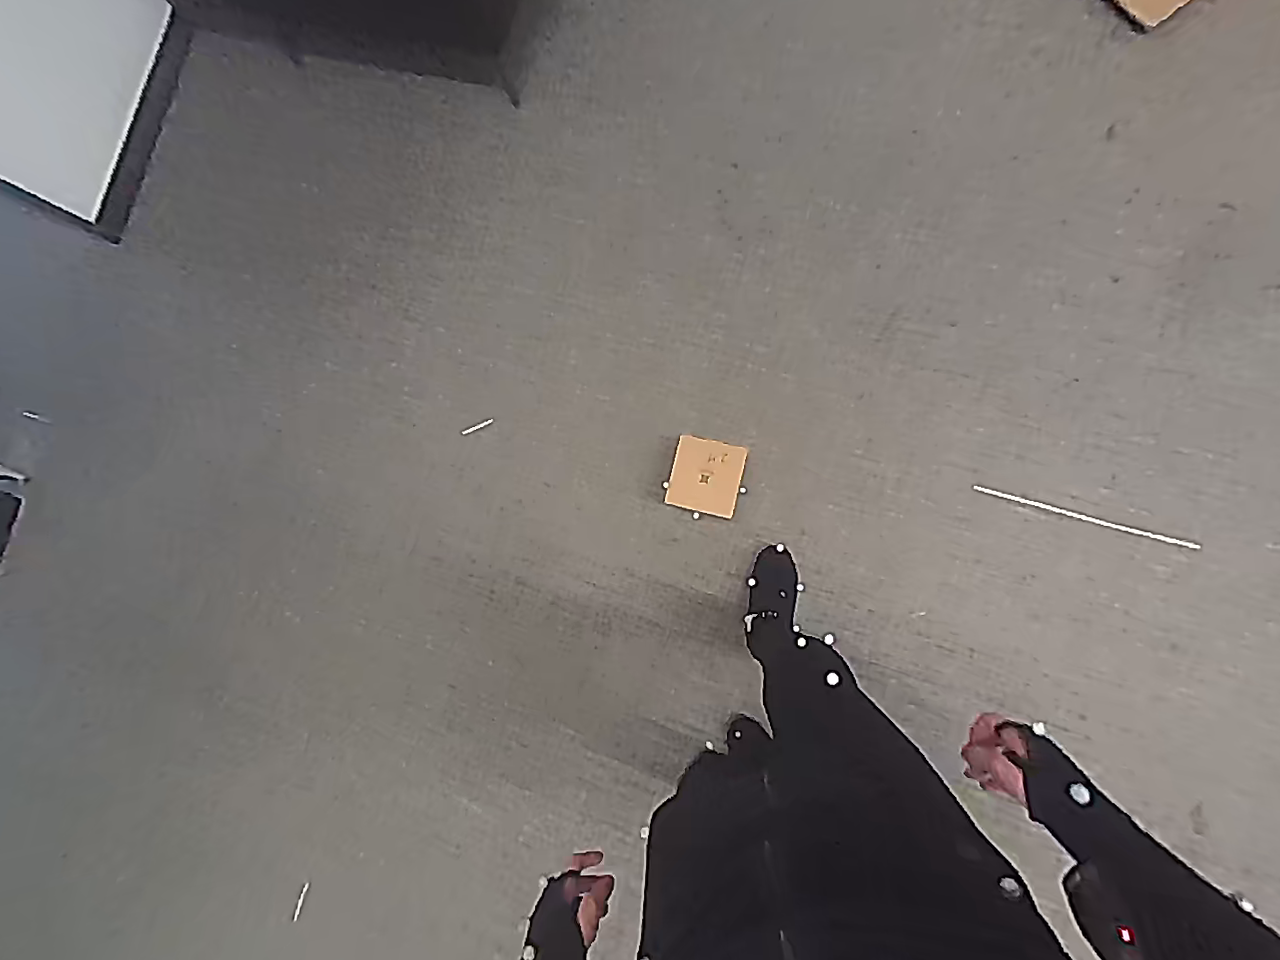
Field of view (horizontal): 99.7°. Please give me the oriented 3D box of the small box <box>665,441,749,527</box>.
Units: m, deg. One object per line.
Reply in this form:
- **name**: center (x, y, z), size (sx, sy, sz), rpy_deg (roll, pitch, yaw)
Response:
- **small box**: center (0.172, 0.016, 1.359), size (0.168, 0.176, 0.179), rpy_deg (14, 86, 10)
